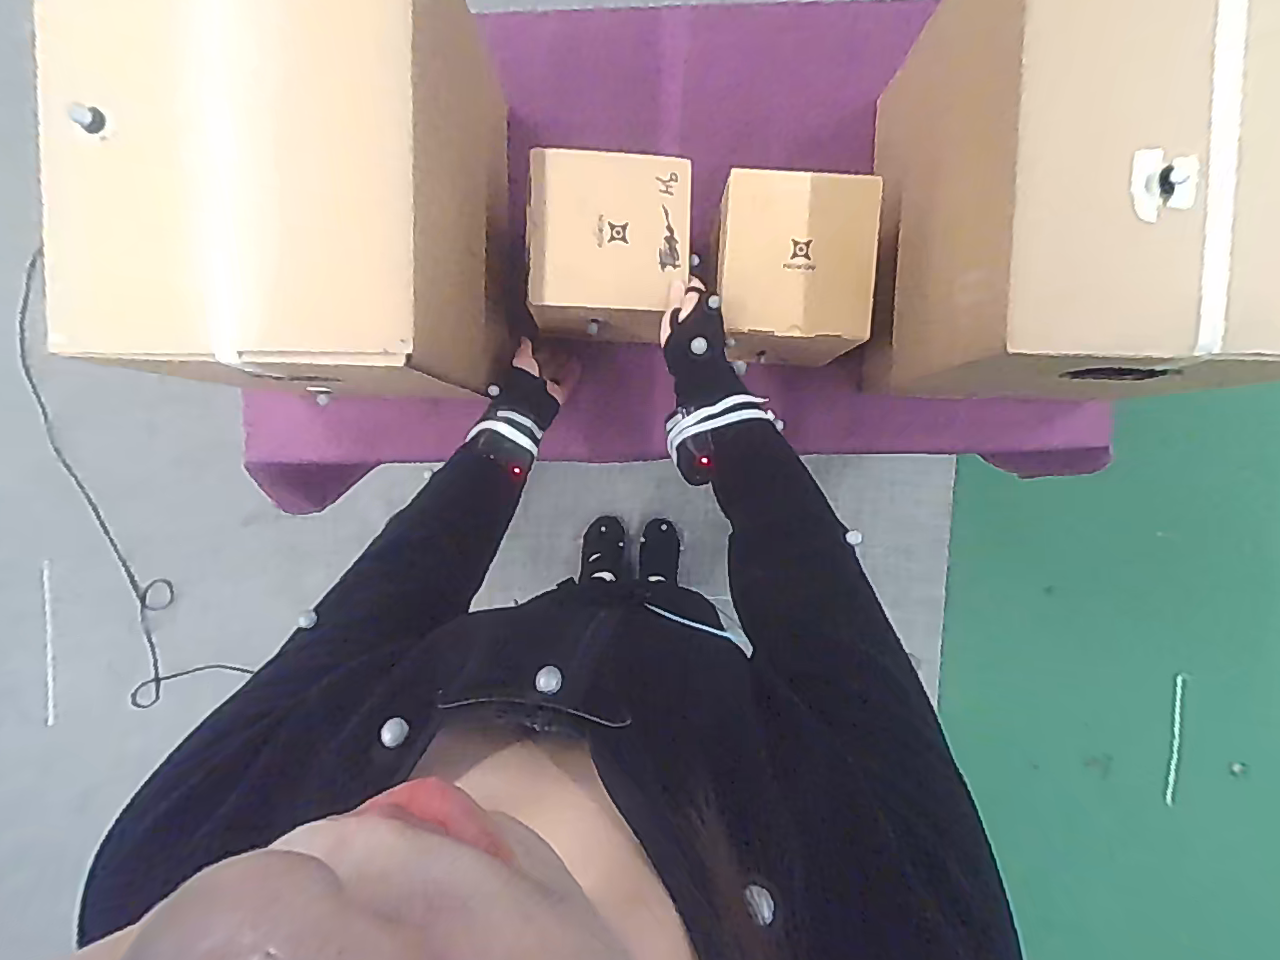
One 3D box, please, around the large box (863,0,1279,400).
[{"bbox_3d":[0.467,-0.308,0.600,0.320,0.320,0.408,2,93,0],"label":"large box"}]
